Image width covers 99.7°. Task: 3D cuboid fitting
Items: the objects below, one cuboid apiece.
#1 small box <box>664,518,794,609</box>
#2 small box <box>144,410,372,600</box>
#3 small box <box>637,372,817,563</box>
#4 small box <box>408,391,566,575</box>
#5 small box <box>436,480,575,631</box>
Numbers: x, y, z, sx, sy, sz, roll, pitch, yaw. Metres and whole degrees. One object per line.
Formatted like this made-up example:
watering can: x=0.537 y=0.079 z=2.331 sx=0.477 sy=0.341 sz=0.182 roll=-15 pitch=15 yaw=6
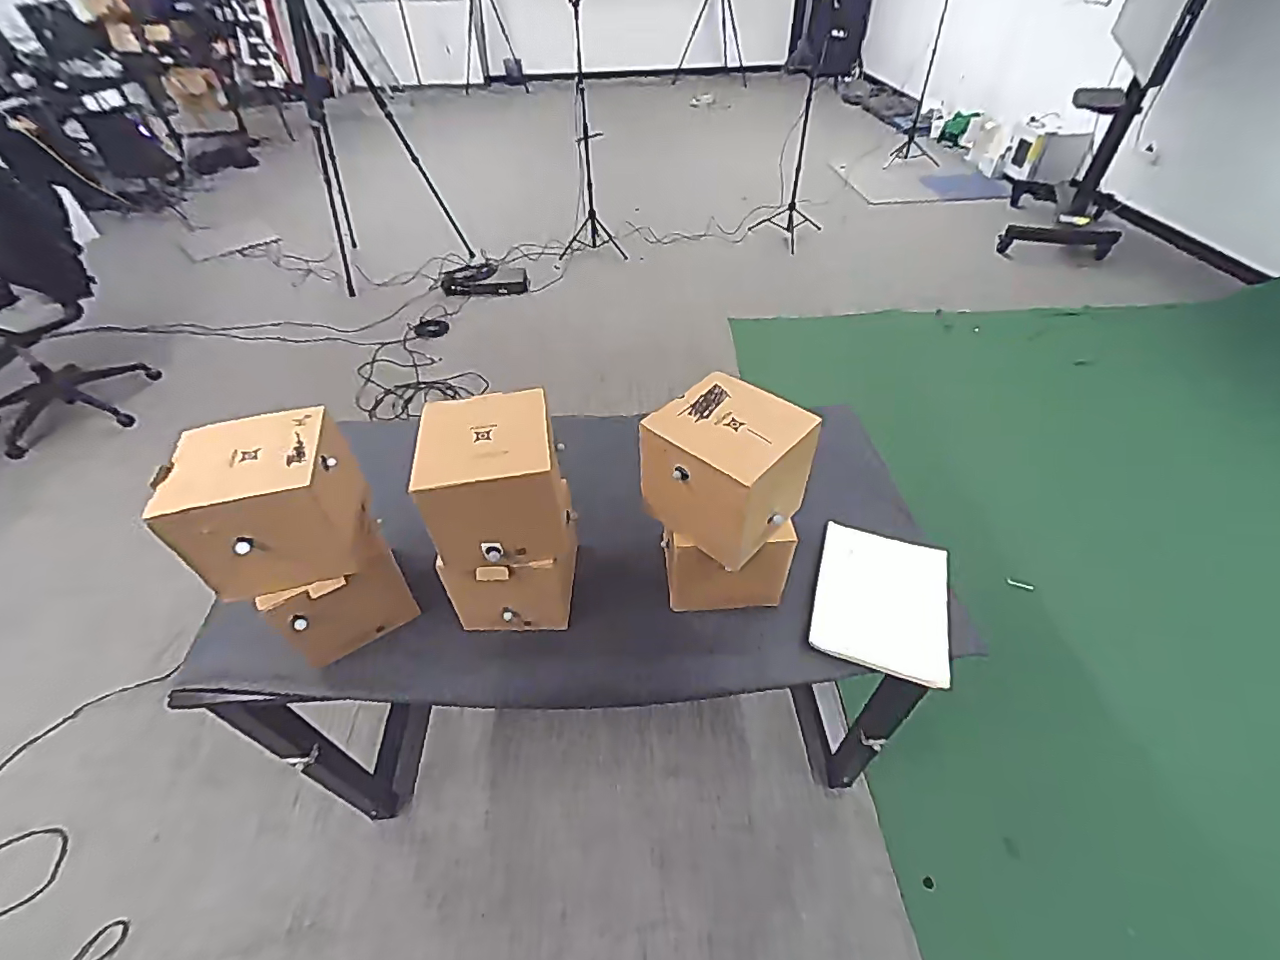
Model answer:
small box: x=0.131 y=0.092 z=0.874 sx=0.179 sy=0.176 sz=0.168 roll=-4 pitch=44 yaw=0
small box: x=-0.486 y=0.036 z=0.723 sx=0.179 sy=0.176 sz=0.168 roll=-14 pitch=46 yaw=-10
small box: x=0.113 y=-0.018 z=0.751 sx=0.179 sy=0.176 sz=0.168 roll=33 pitch=55 yaw=31
small box: x=-0.199 y=0.003 z=0.745 sx=0.168 sy=0.176 sz=0.179 roll=-10 pitch=45 yaw=-6
small box: x=-0.199 y=0.119 z=0.859 sx=0.168 sy=0.176 sz=0.179 roll=-2 pitch=44 yaw=2
